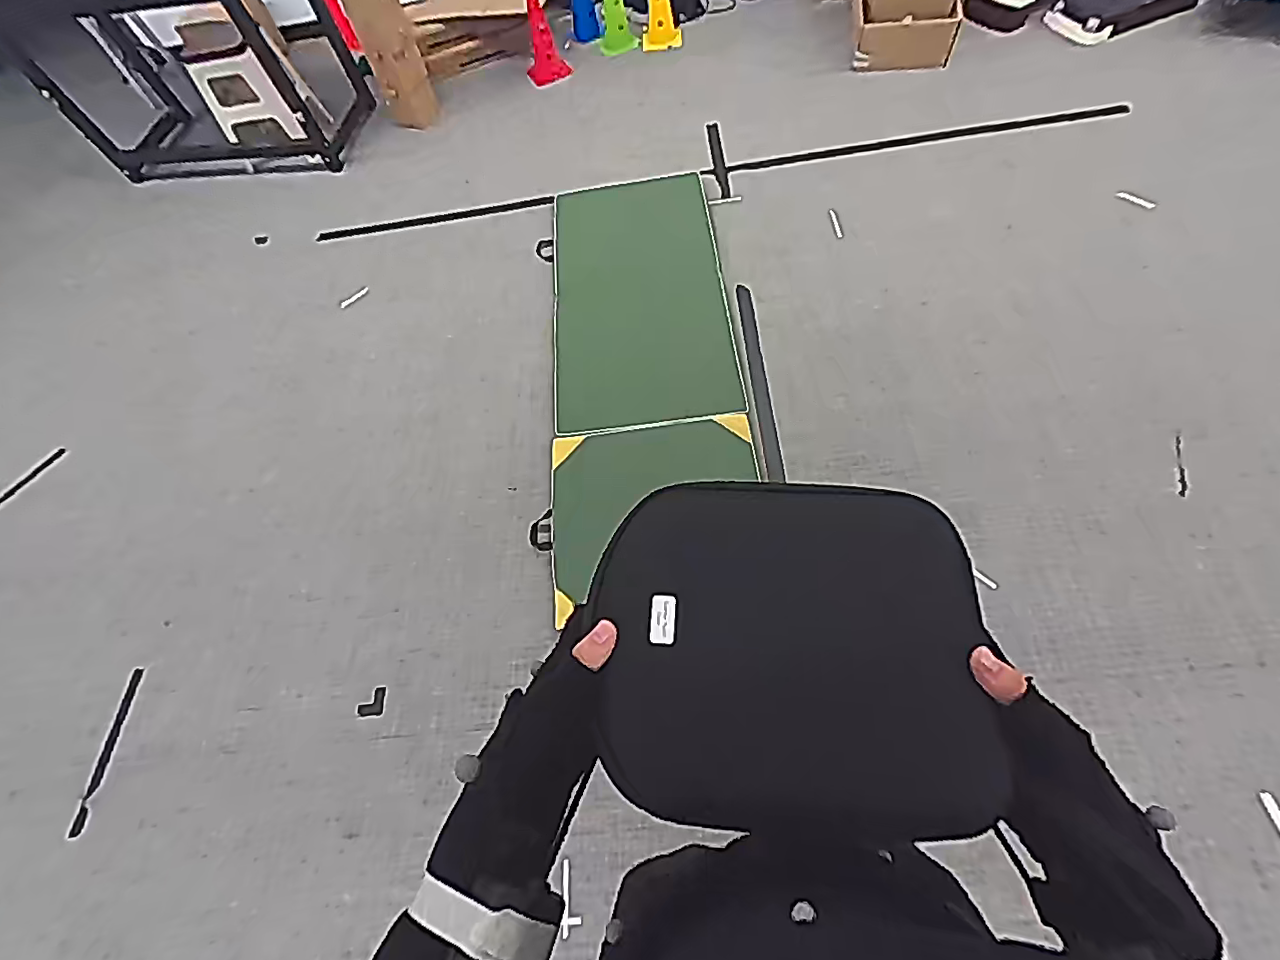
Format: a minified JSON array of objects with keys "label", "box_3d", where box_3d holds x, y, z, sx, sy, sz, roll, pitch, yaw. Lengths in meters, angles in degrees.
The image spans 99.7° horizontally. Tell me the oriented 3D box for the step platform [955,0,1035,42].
[{"label":"step platform","box_3d":[1.825,-2.296,2.490,0.684,0.204,0.286,-33,63,-9]}]
